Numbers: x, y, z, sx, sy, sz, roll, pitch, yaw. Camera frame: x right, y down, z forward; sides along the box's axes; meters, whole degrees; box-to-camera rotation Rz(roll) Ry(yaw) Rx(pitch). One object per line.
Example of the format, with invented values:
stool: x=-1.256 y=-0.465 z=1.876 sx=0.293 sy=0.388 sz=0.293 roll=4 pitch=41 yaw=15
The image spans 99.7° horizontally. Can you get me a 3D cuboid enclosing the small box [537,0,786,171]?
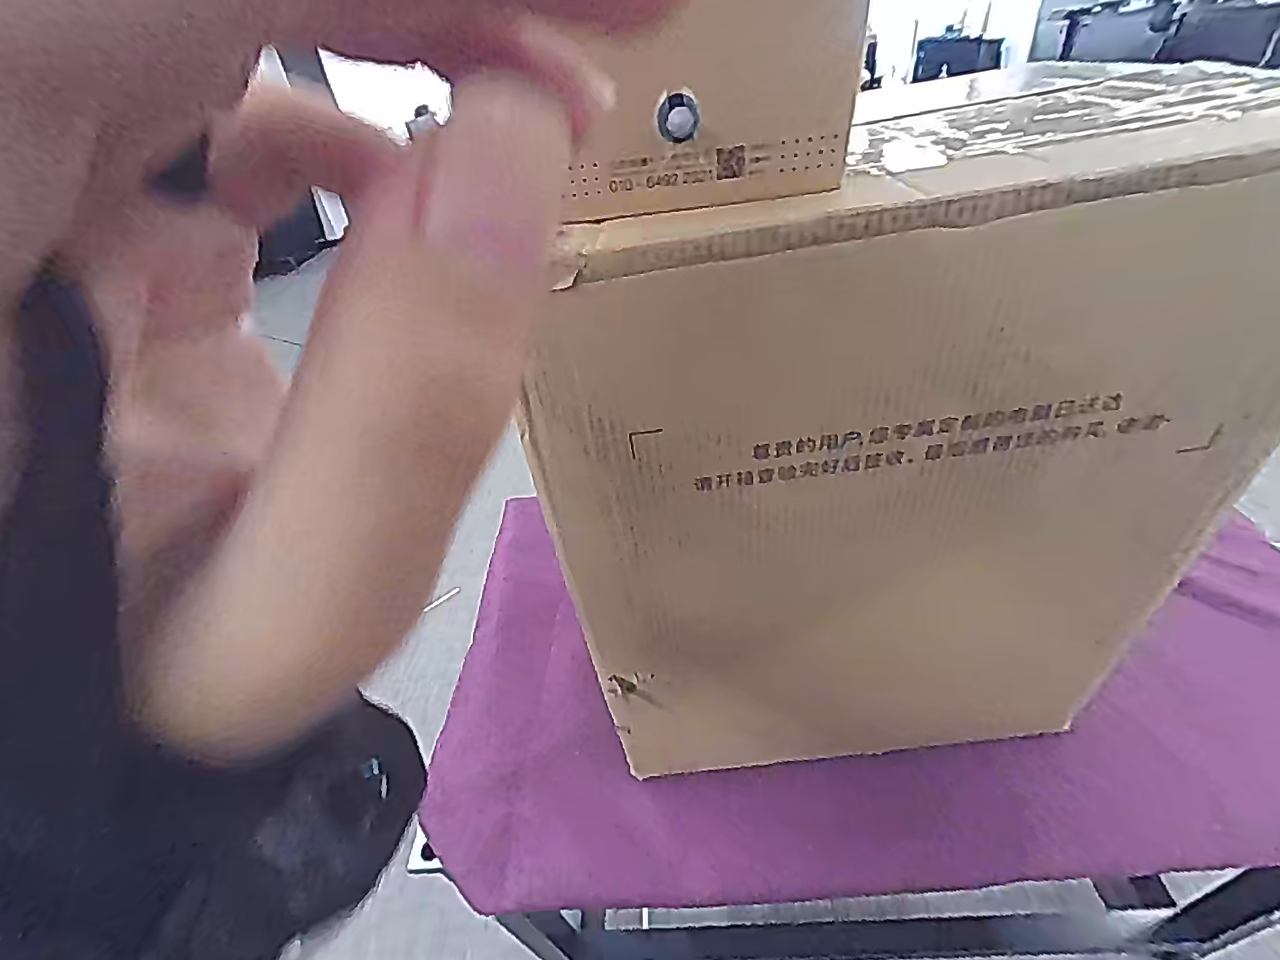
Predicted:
small box: x=0.015 y=-0.367 z=0.437 sx=0.179 sy=0.176 sz=0.168 roll=-7 pitch=38 yaw=2
